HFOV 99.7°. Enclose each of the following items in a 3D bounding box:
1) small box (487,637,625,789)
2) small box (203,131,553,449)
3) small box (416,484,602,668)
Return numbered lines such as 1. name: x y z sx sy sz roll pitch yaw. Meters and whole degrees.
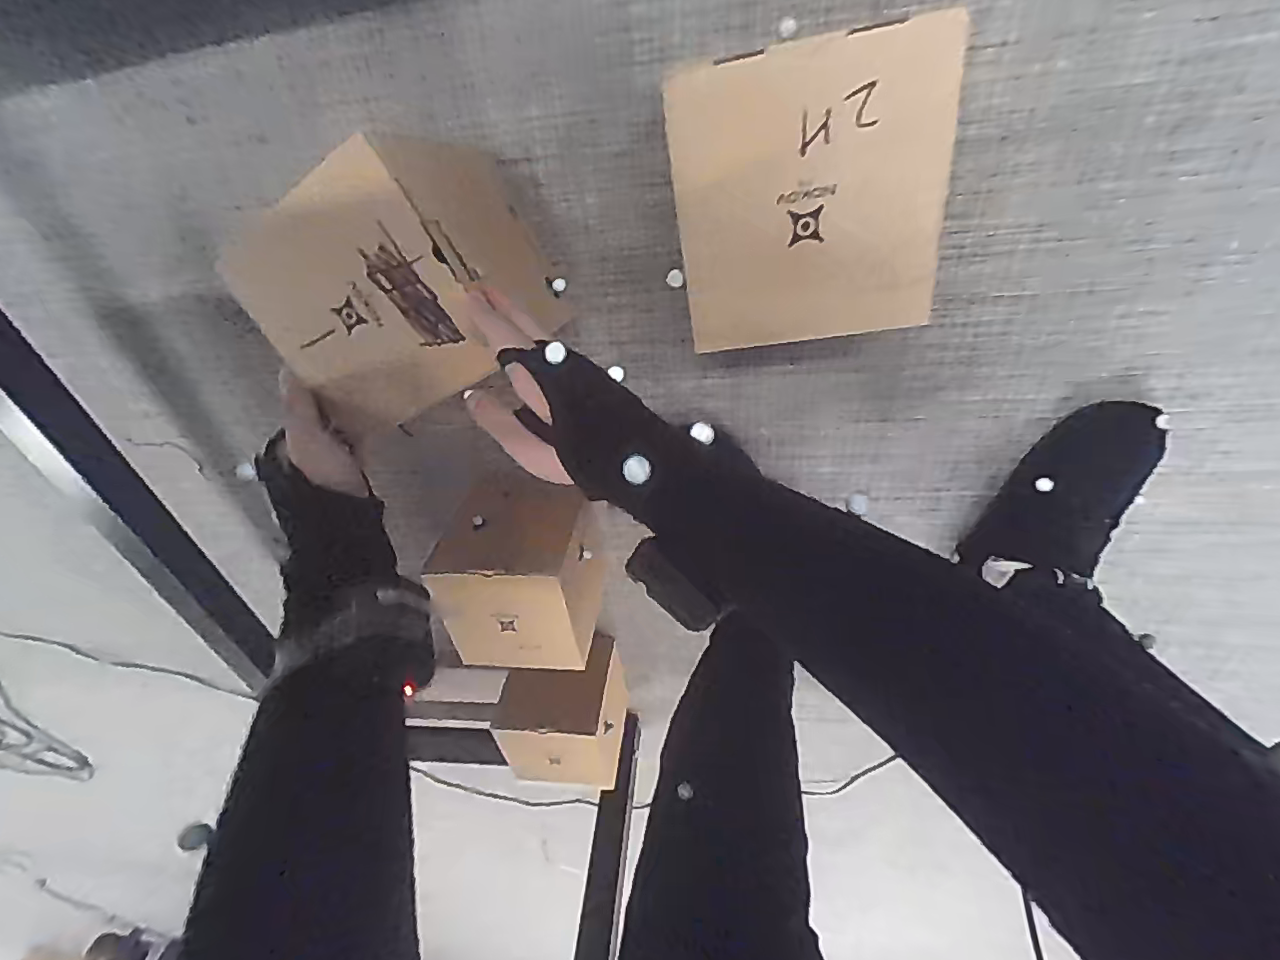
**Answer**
1. small box: -0.125 0.378 0.892 0.168 0.176 0.179 -2 126 10
2. small box: -0.194 -0.158 0.458 0.179 0.176 0.168 -23 110 23
3. small box: -0.152 0.117 0.700 0.168 0.176 0.179 -1 127 10
